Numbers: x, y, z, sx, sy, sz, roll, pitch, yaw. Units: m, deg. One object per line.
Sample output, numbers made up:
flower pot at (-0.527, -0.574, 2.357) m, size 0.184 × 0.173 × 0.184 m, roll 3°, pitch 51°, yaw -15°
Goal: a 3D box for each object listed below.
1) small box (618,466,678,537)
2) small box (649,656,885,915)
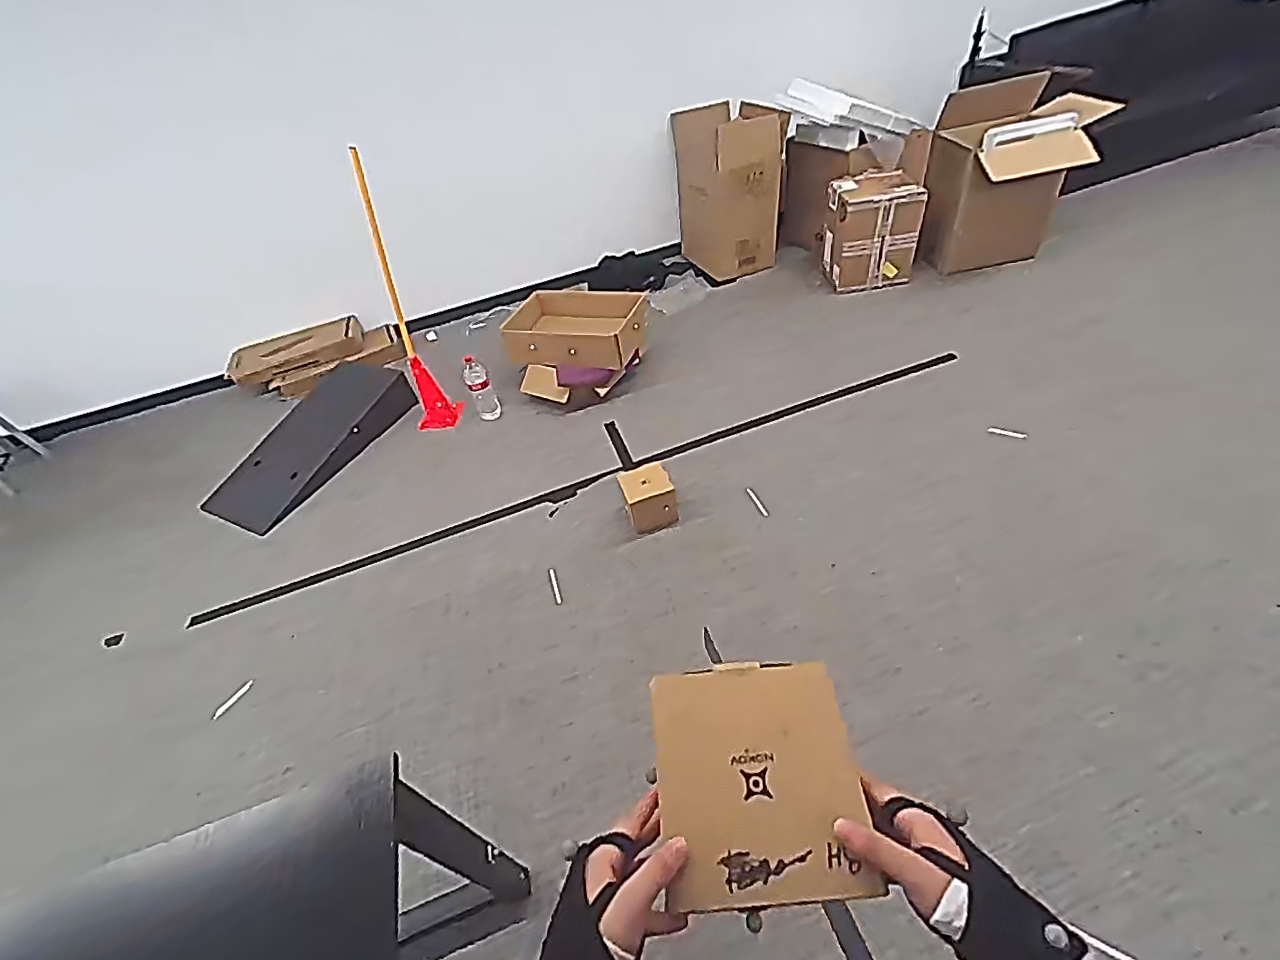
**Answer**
small box at (0.033, 0.083, 2.015) m, size 0.179 × 0.176 × 0.168 m, roll -20°, pitch 43°, yaw -7°
small box at (0.100, 0.289, 0.510) m, size 0.168 × 0.176 × 0.179 m, roll -7°, pitch 49°, yaw 2°
